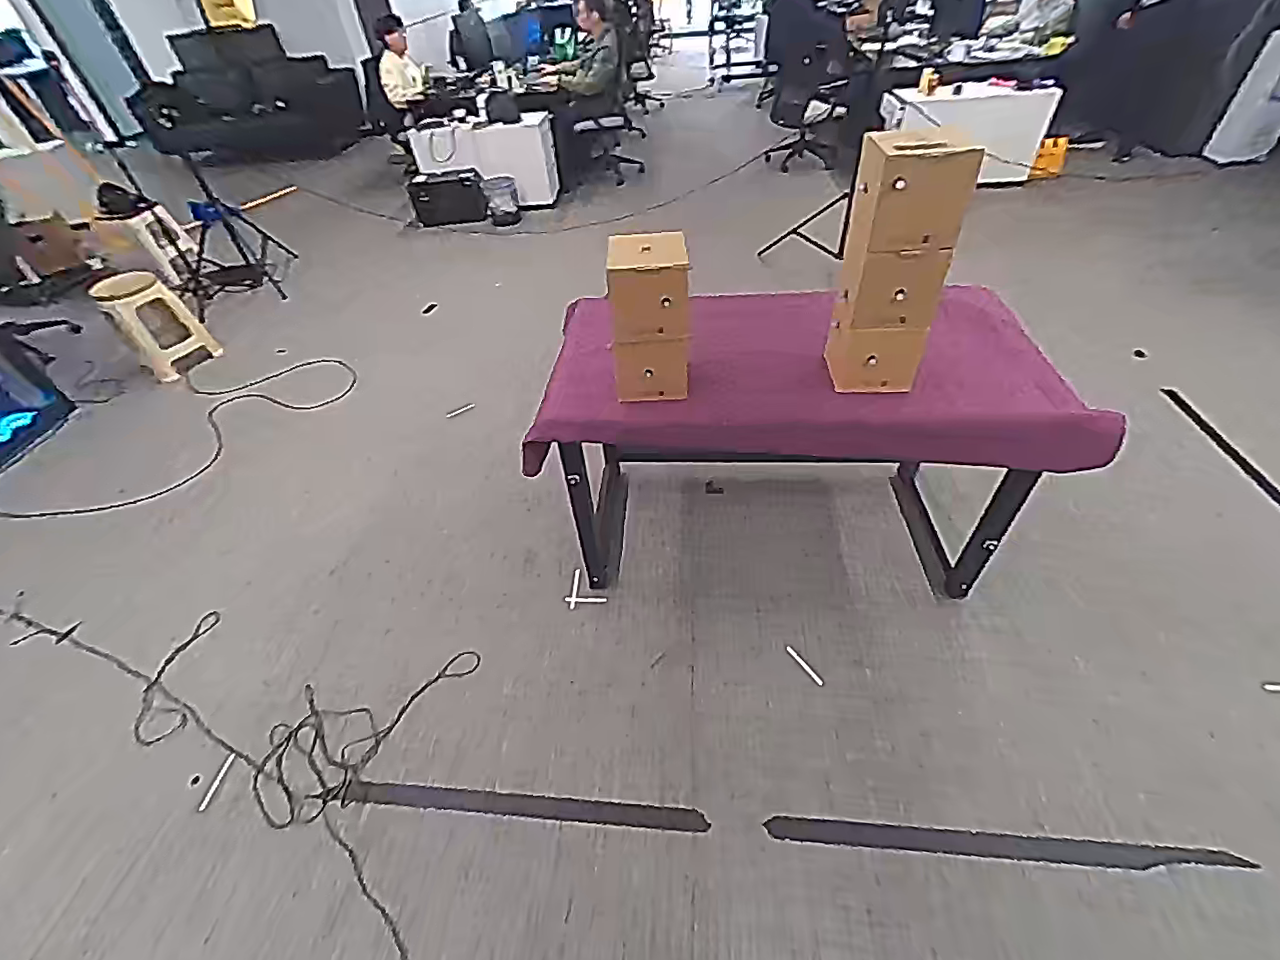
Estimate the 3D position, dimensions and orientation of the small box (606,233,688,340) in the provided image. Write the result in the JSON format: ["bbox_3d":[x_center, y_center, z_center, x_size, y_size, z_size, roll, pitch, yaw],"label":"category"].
[{"bbox_3d":[0.017,-0.417,1.180,0.168,0.176,0.179,-3,44,1],"label":"small box"}]

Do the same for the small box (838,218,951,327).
[{"bbox_3d":[0.533,-0.440,1.157,0.168,0.176,0.179,1,45,7],"label":"small box"}]

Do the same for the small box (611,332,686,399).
[{"bbox_3d":[0.025,-0.307,1.299,0.168,0.176,0.179,-2,44,2],"label":"small box"}]

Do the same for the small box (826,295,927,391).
[{"bbox_3d":[0.543,-0.320,1.269,0.168,0.176,0.179,0,44,6],"label":"small box"}]
